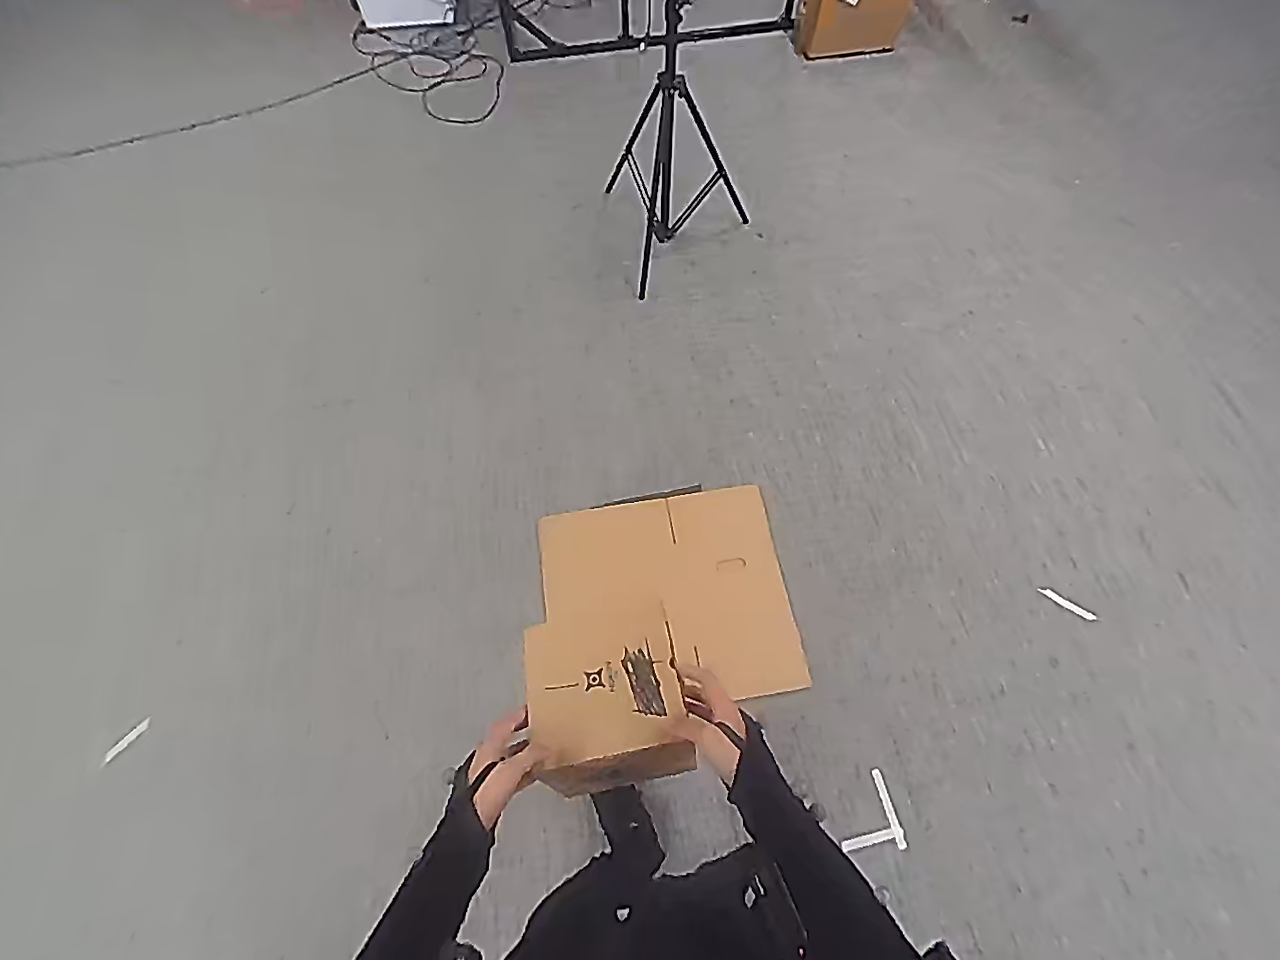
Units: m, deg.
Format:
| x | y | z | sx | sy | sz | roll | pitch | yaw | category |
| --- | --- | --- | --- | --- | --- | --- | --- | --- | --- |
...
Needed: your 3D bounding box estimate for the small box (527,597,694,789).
| x | y | z | sx | sy | sz | roll | pitch | yaw | category |
| --- | --- | --- | --- | --- | --- | --- | --- | --- | --- |
| -0.032 | 0.271 | 0.679 | 0.179 | 0.176 | 0.168 | -12 | 52 | 0 | small box |
